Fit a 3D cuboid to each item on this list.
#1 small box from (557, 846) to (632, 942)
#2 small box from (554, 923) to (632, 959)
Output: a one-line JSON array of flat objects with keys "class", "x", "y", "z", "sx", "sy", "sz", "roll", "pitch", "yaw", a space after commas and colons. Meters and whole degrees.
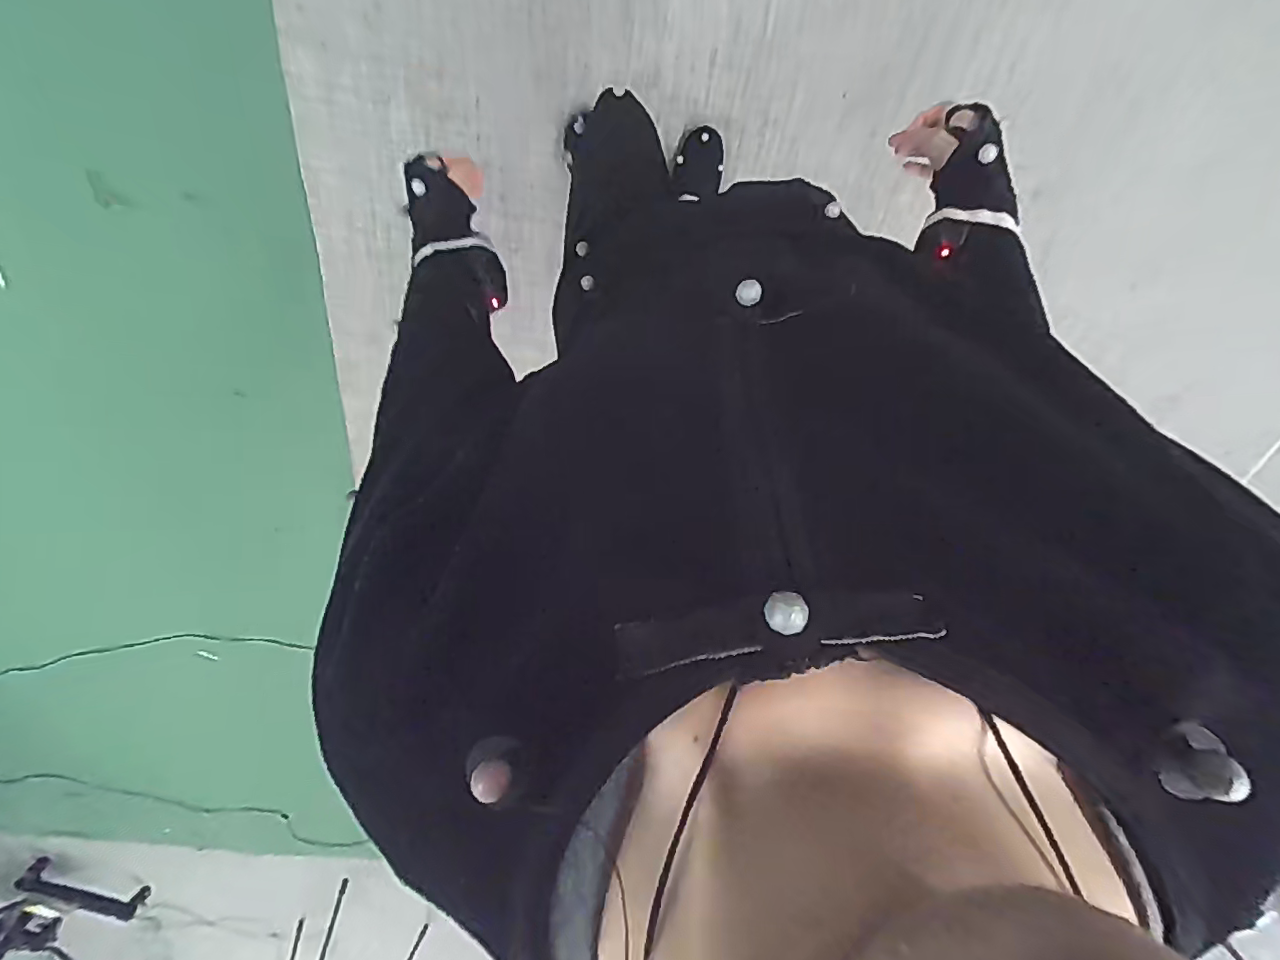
[{"class": "small box", "x": -0.117, "y": 1.080, "z": 1.402, "sx": 0.179, "sy": 0.176, "sz": 0.168, "roll": 6, "pitch": 123, "yaw": -4}, {"class": "small box", "x": -0.116, "y": 1.167, "z": 1.263, "sx": 0.179, "sy": 0.176, "sz": 0.168, "roll": 7, "pitch": 123, "yaw": -5}]
